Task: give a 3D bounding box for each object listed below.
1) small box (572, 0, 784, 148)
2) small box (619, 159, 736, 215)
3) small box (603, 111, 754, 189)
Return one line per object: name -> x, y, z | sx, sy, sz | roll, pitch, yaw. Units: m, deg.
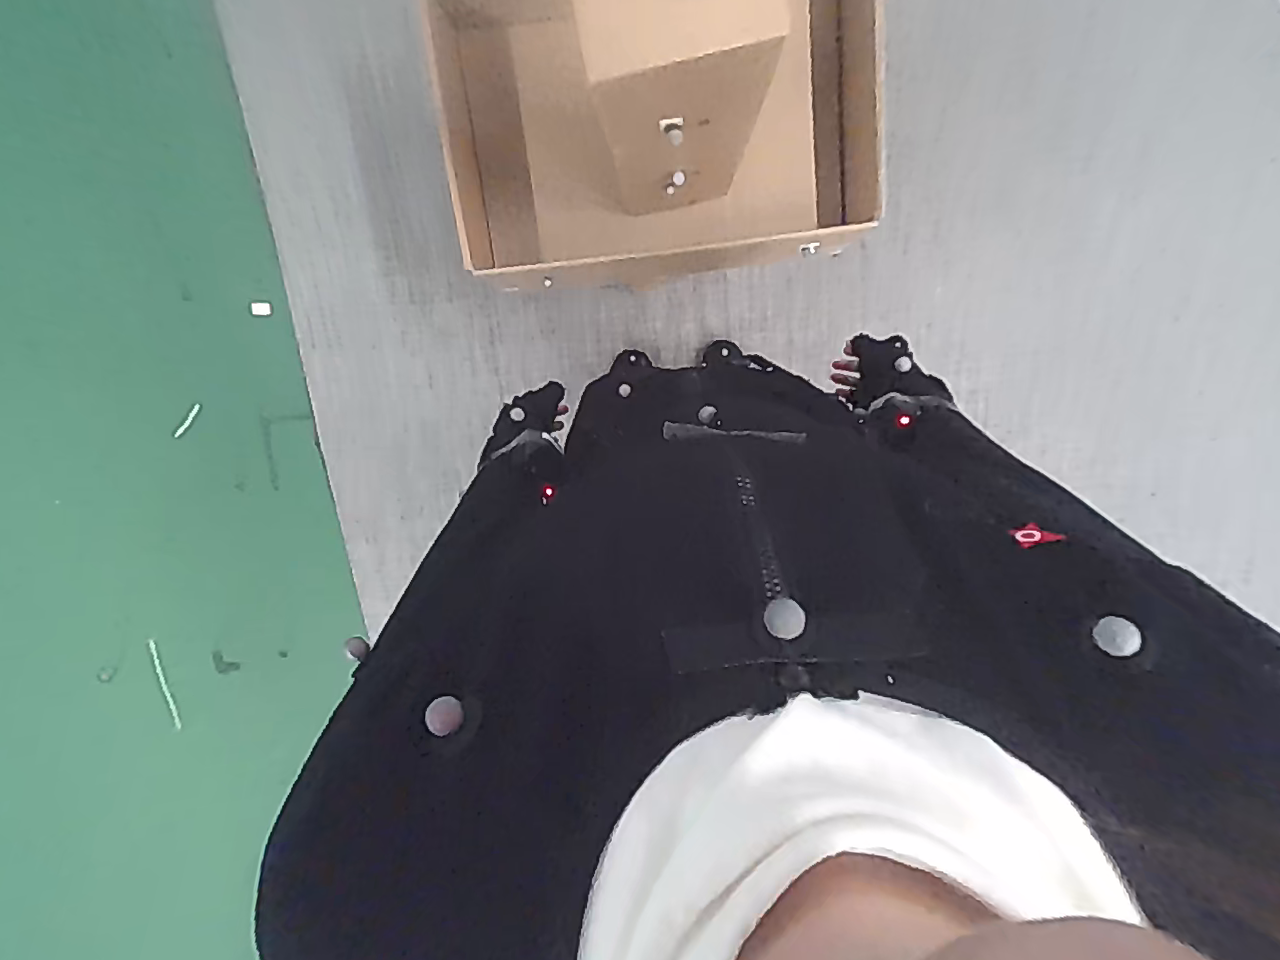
small box -> 0.025, -0.441, 0.493 | 0.168, 0.176, 0.179 | -10, 104, 6
small box -> 0.042, -0.523, 0.807 | 0.168, 0.176, 0.179 | -10, 102, 7
small box -> 0.032, -0.479, 0.650 | 0.168, 0.176, 0.179 | -10, 104, 5
